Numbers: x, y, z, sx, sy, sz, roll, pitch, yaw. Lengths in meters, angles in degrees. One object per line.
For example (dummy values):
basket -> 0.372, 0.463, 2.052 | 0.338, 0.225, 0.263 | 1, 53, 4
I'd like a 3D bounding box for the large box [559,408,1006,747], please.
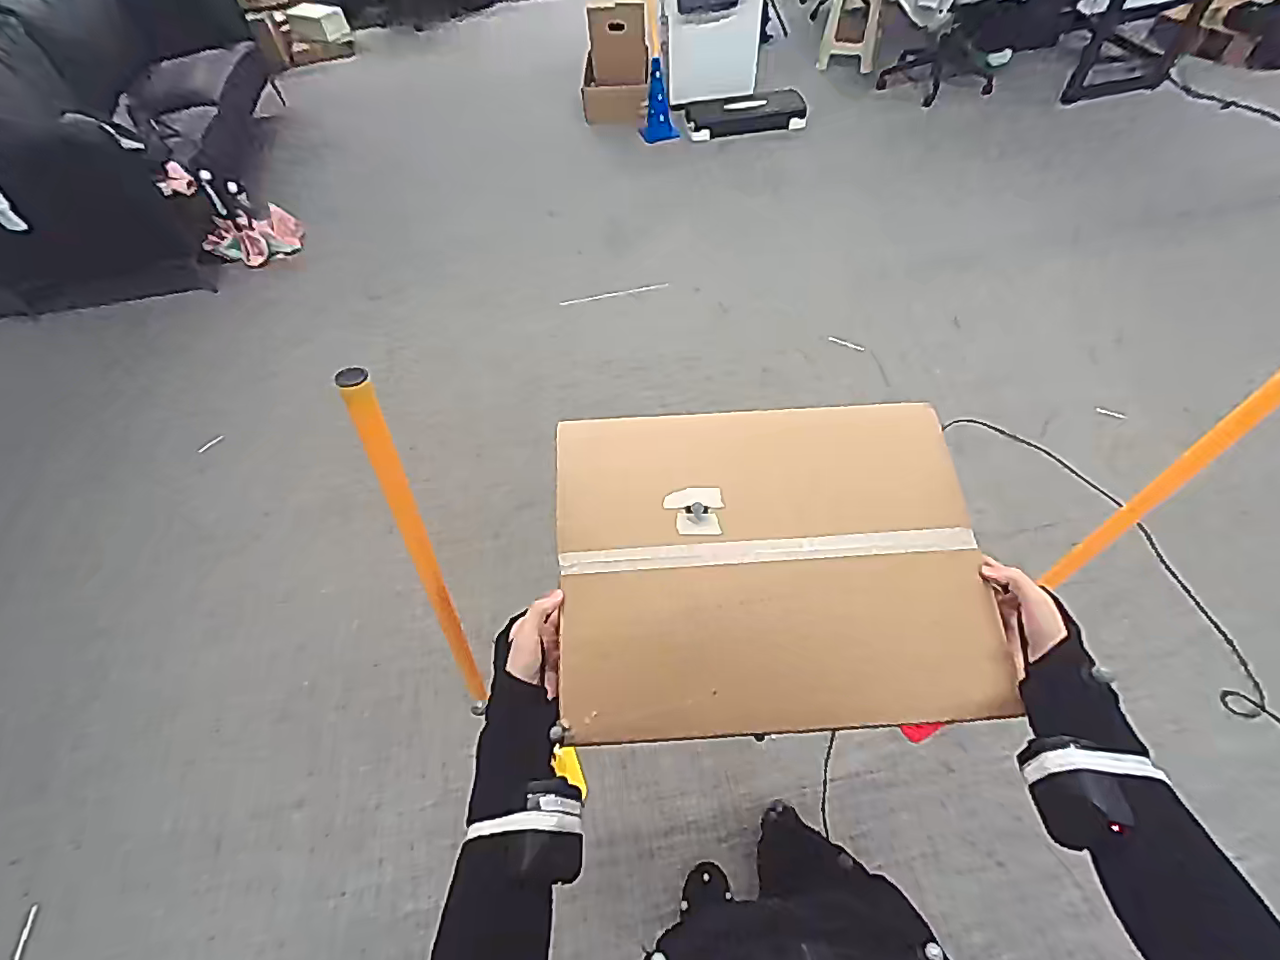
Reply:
large box -> 0.126, 0.134, 0.674 | 0.408, 0.320, 0.320 | -4, 67, 0
